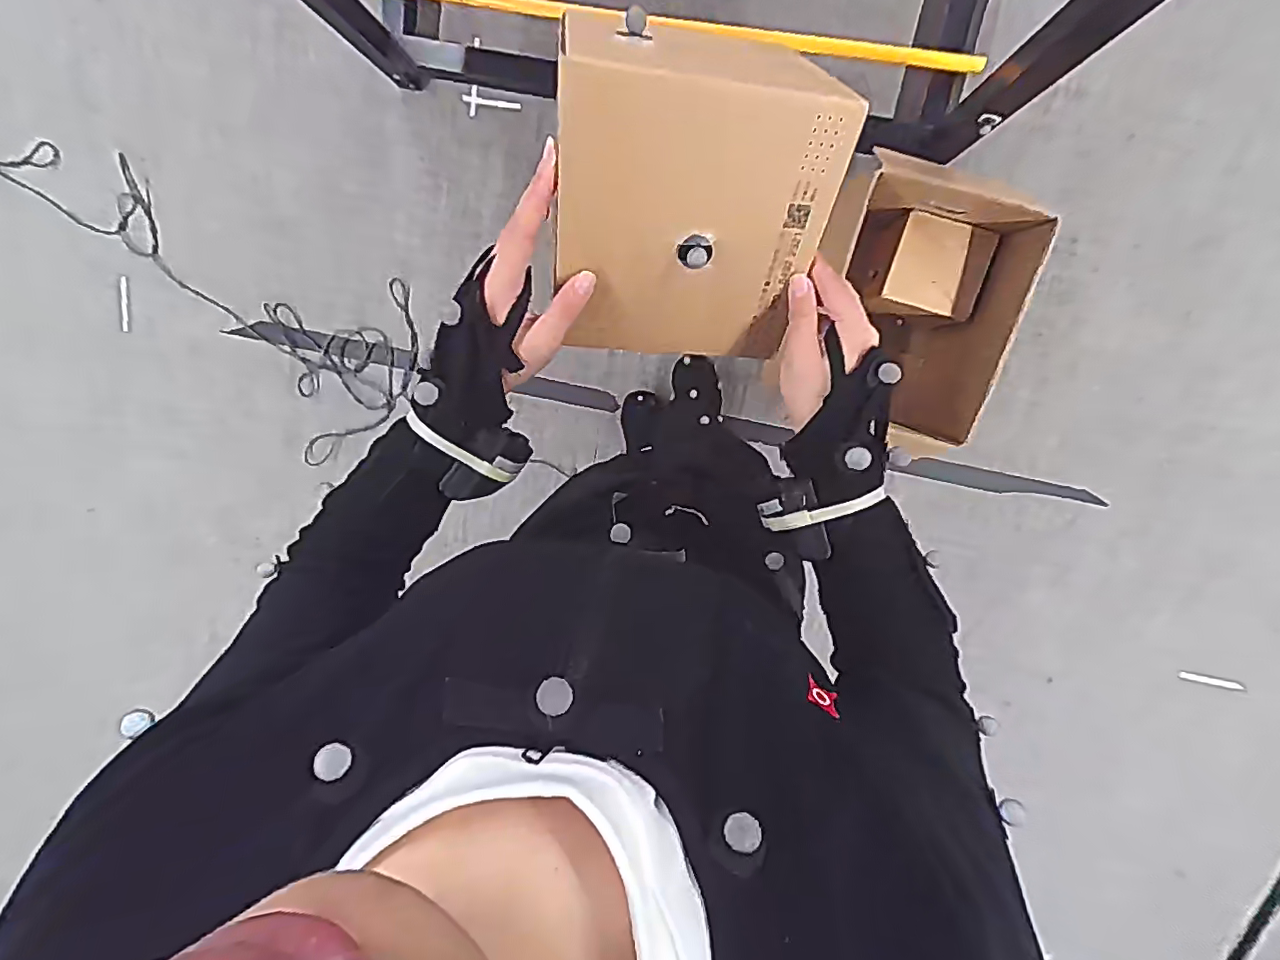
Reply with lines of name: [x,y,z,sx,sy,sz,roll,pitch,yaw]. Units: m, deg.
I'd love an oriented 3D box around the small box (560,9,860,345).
small box: [0.030,-0.213,0.394,0.176,0.179,0.168,2,136,-10]
